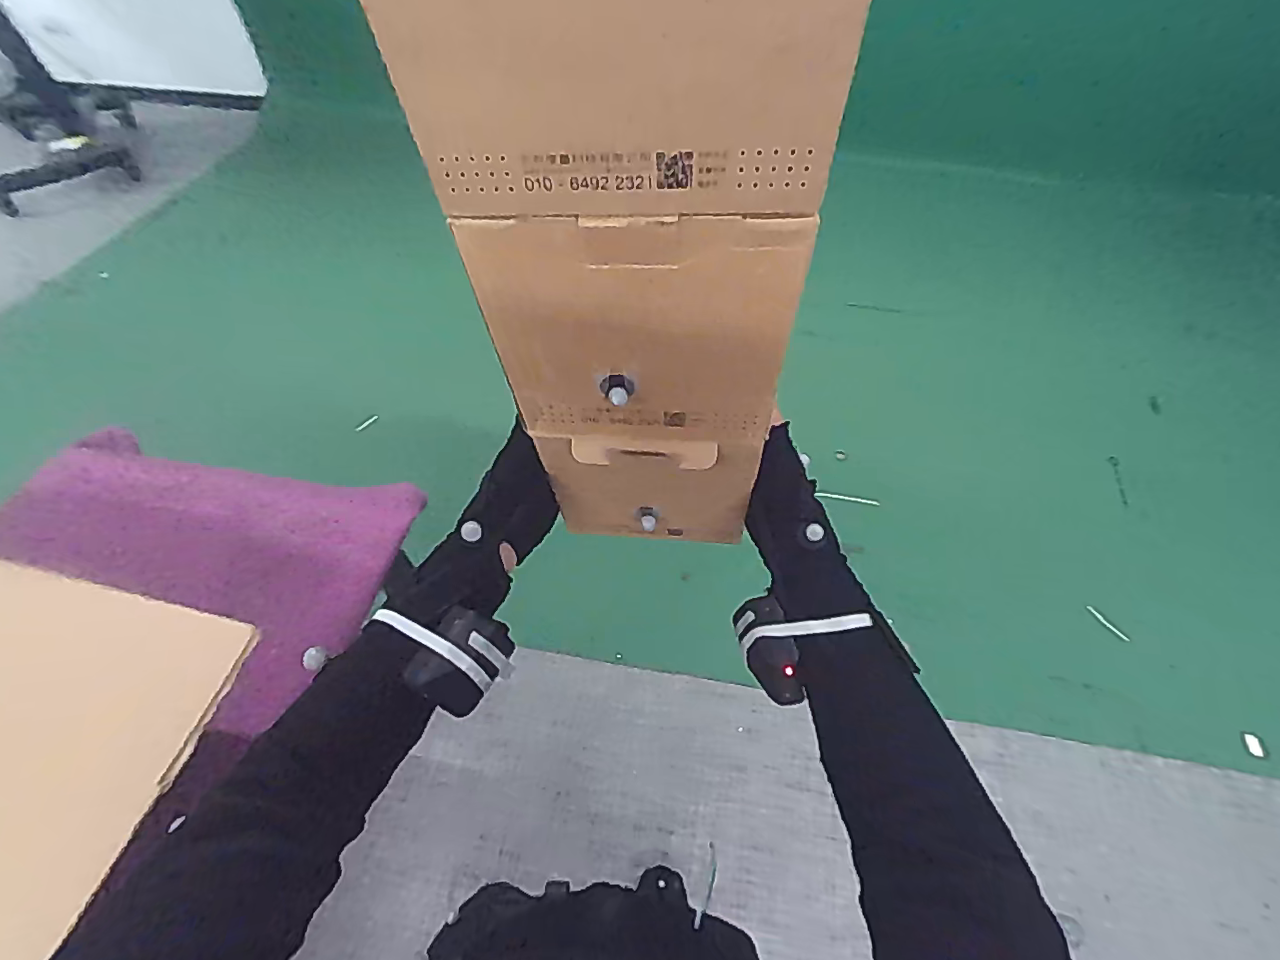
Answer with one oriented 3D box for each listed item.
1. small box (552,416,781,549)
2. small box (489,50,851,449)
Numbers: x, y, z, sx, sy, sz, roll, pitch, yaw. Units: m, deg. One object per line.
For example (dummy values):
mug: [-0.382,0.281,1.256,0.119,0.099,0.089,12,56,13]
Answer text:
small box: [0.030,-0.057,0.489,0.168,0.176,0.179,4,59,6]
small box: [0.020,-0.142,0.351,0.168,0.176,0.179,3,60,4]
